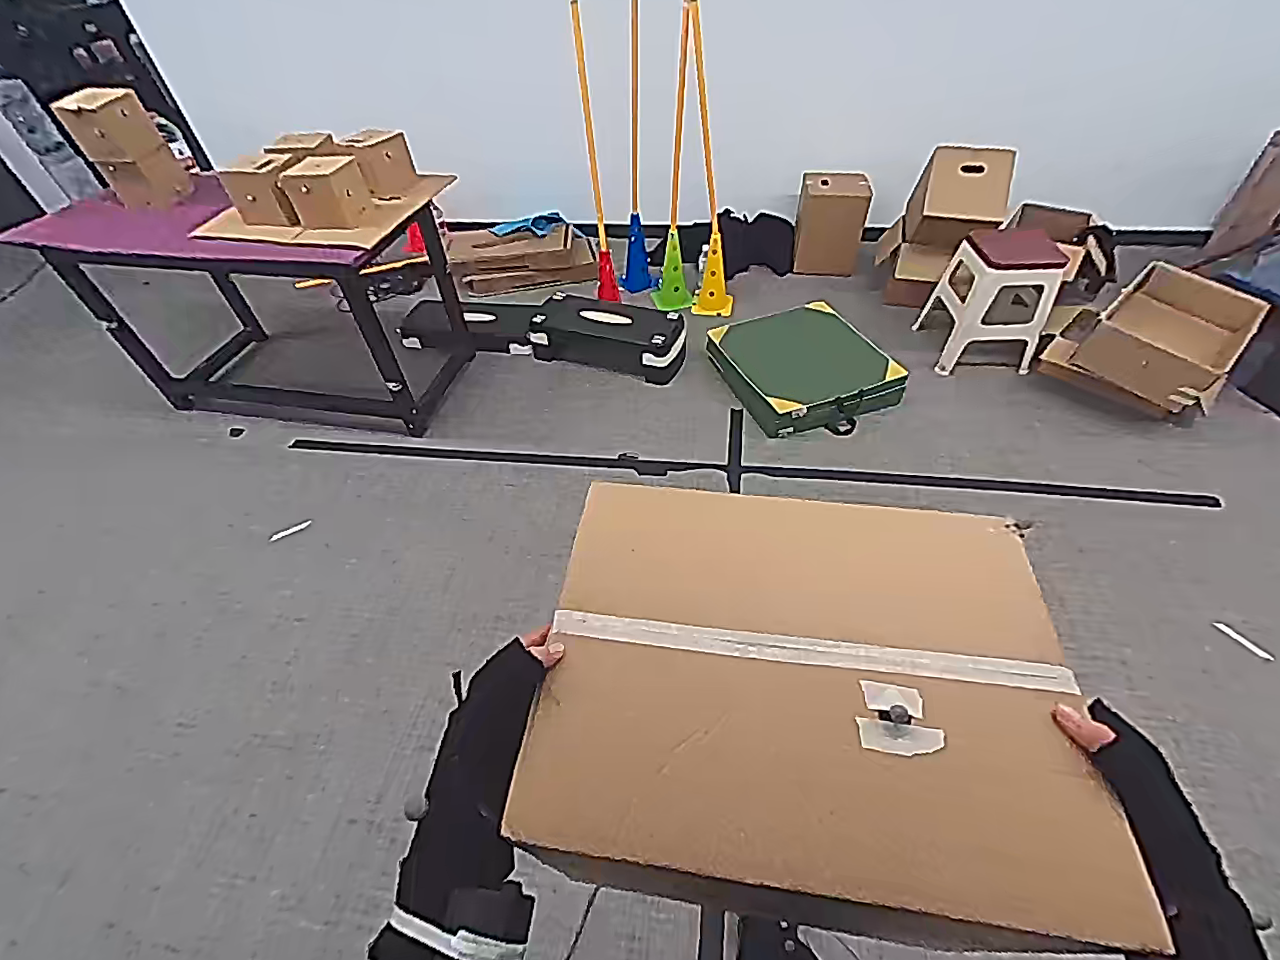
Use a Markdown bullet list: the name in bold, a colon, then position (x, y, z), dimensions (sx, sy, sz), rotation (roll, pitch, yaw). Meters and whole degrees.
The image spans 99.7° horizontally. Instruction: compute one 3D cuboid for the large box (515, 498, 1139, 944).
- **large box**: position (0.131, 0.244, 0.555), dimensions (0.408, 0.320, 0.320), rotation (5, 50, 7)
